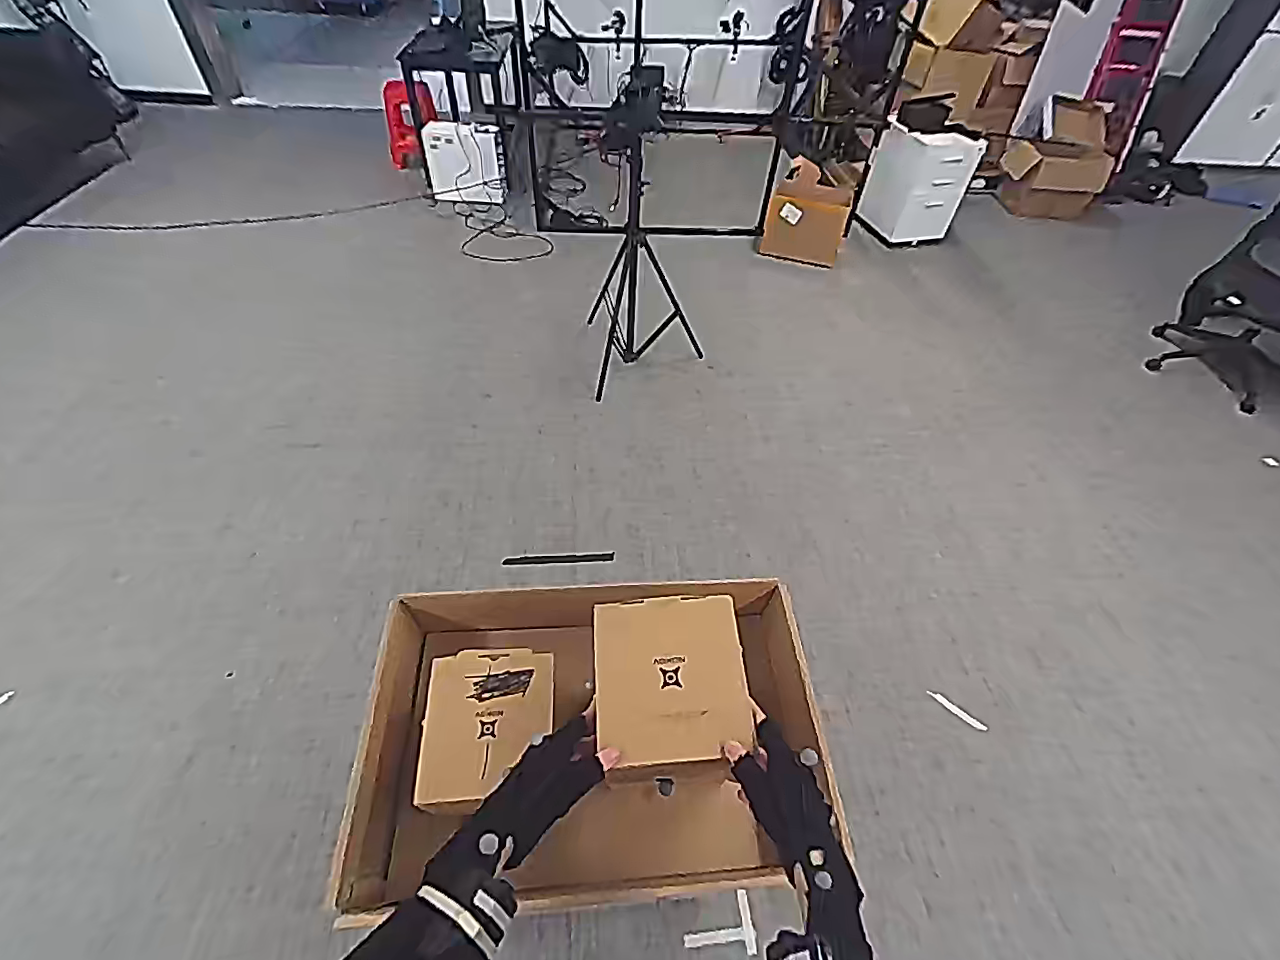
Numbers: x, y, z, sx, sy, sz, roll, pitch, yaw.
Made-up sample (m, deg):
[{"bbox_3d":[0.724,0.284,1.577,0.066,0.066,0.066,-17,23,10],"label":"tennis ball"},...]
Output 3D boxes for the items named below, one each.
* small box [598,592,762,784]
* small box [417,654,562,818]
[{"bbox_3d":[0.038,0.255,0.657,0.168,0.176,0.179,-5,56,-2],"label":"small box"},{"bbox_3d":[-0.197,0.361,0.762,0.168,0.176,0.179,-1,54,-6],"label":"small box"}]
